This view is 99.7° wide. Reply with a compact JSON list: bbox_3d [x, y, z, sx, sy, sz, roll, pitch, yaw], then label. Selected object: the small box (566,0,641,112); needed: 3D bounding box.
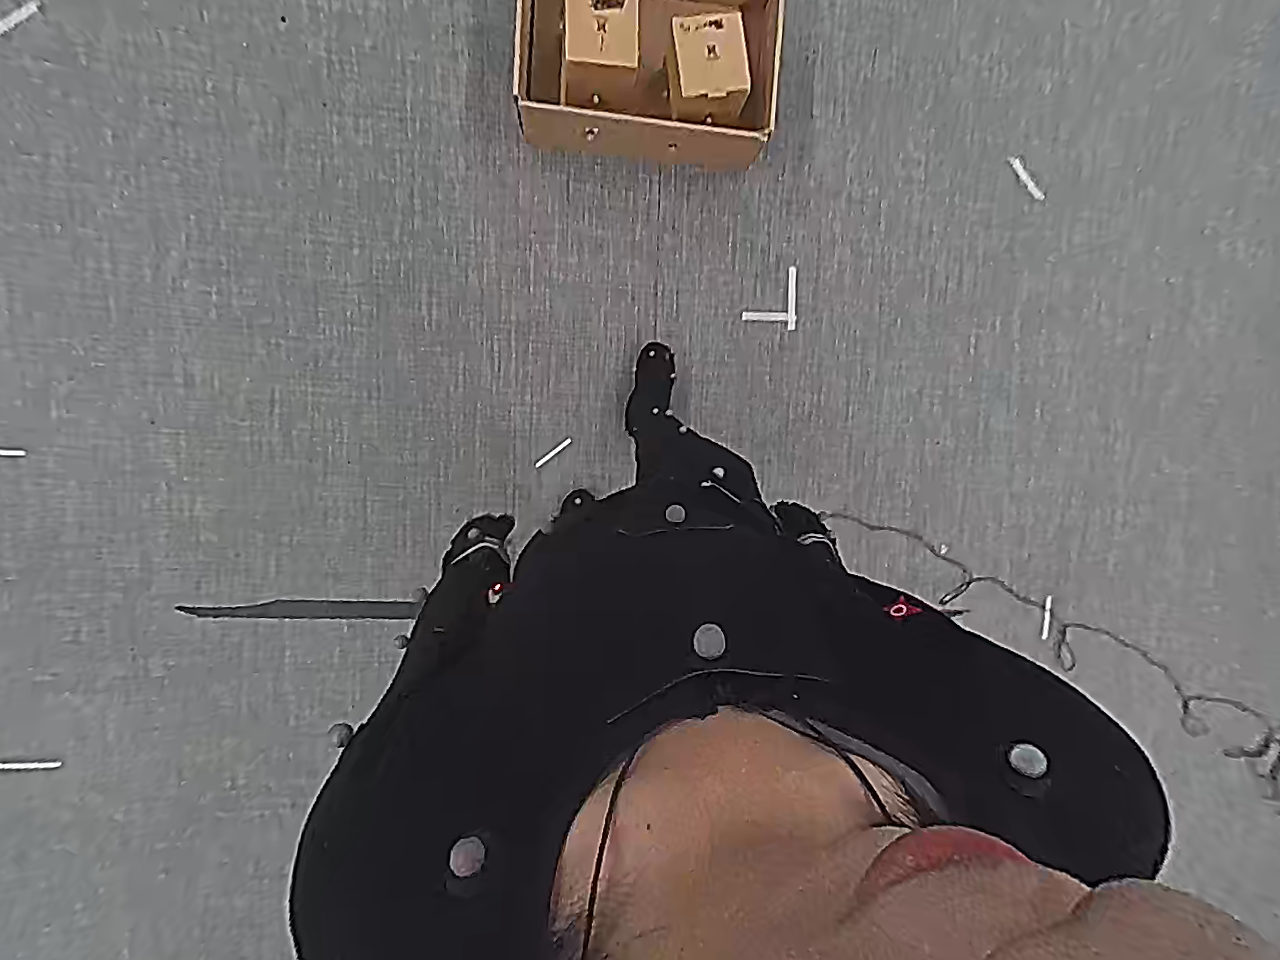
[{"bbox_3d":[-0.091,-1.021,1.281,0.168,0.176,0.179,0,95,-8],"label":"small box"}]
